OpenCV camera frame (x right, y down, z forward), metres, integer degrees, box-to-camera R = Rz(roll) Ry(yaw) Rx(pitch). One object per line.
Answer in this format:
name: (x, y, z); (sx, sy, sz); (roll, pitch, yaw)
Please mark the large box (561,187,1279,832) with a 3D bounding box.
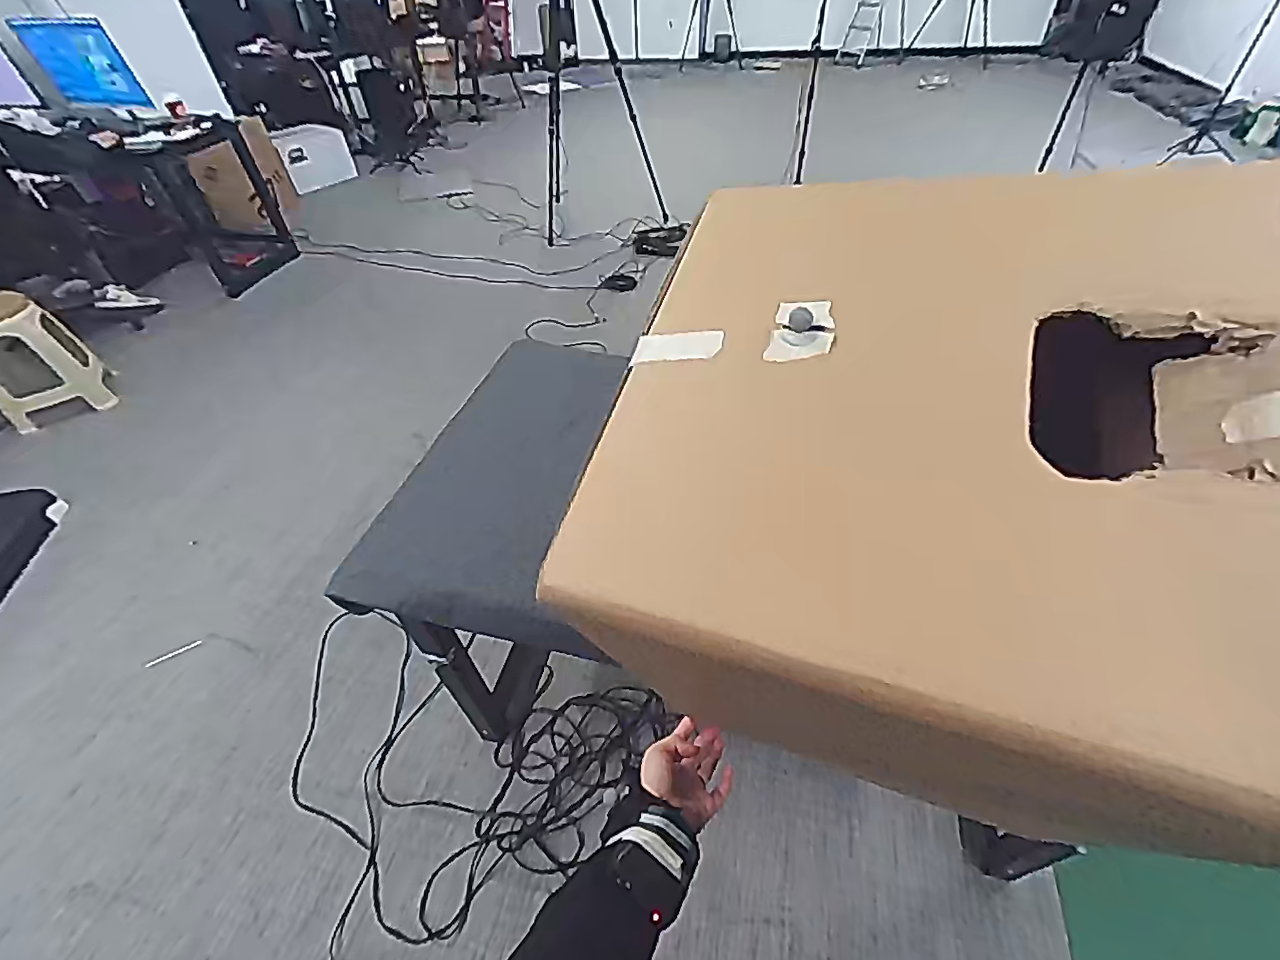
large box: (0.185, 0.045, 0.440); (0.320, 0.408, 0.320); (11, 64, 22)
